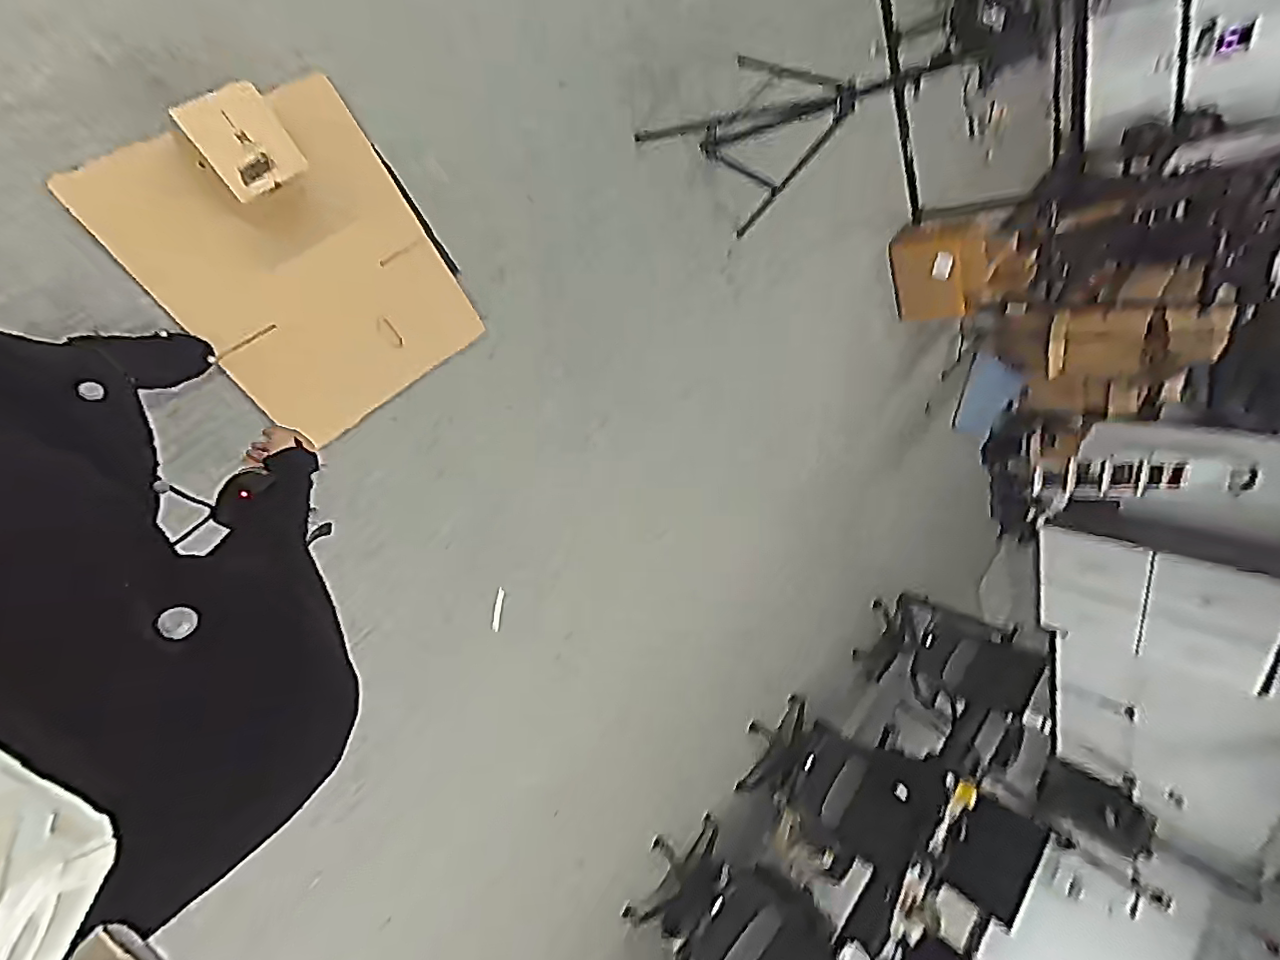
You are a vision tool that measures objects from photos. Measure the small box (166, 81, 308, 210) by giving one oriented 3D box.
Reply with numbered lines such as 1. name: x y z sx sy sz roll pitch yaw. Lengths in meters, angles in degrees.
1. small box: -0.848 -0.695 1.146 0.168 0.176 0.179 -44 125 -22
